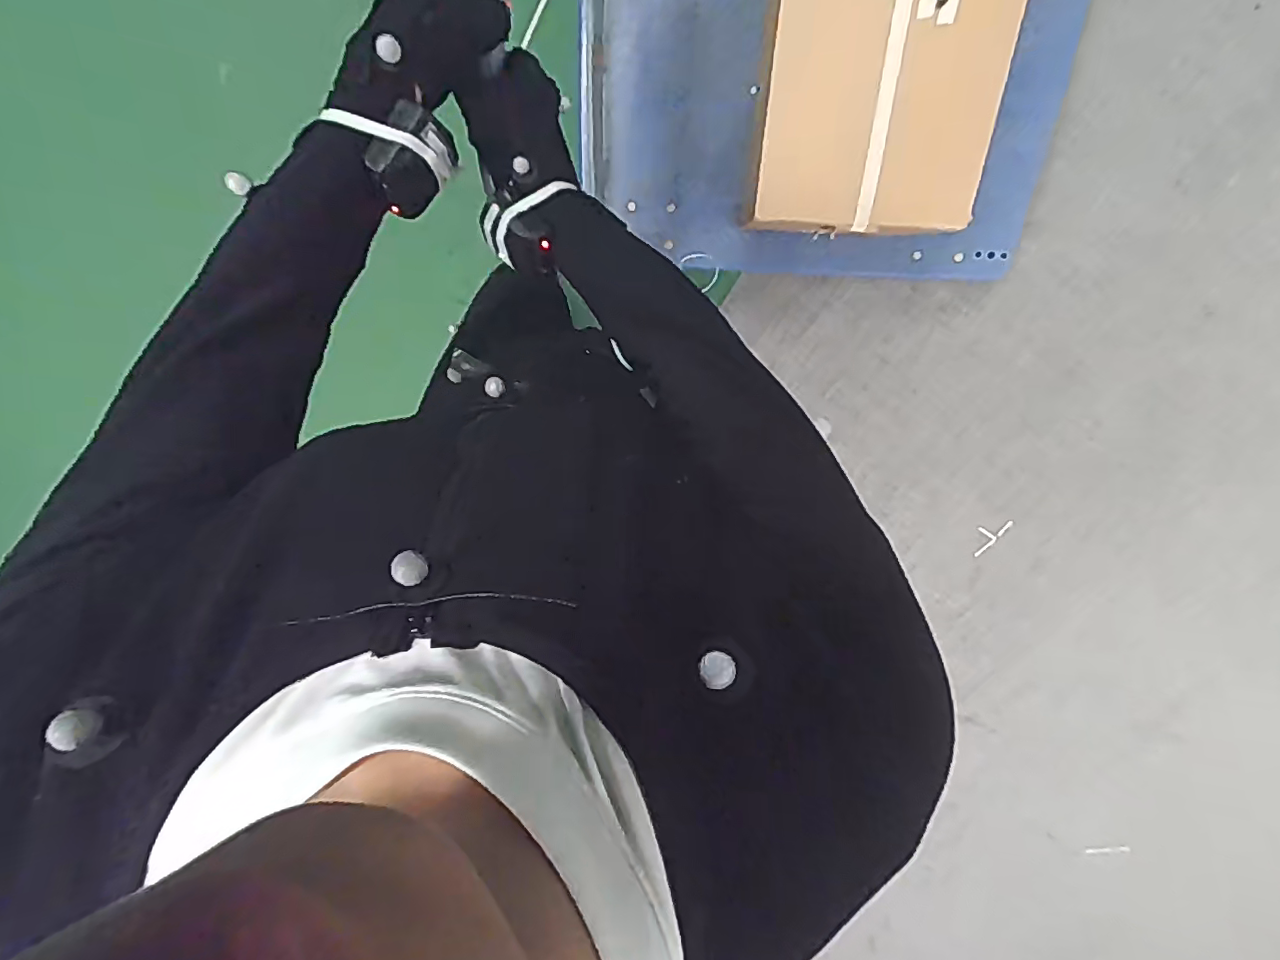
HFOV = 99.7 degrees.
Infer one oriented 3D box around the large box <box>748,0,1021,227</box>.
[{"bbox_3d":[0.355,-0.637,0.866,0.320,0.320,0.408,5,113,4],"label":"large box"}]
